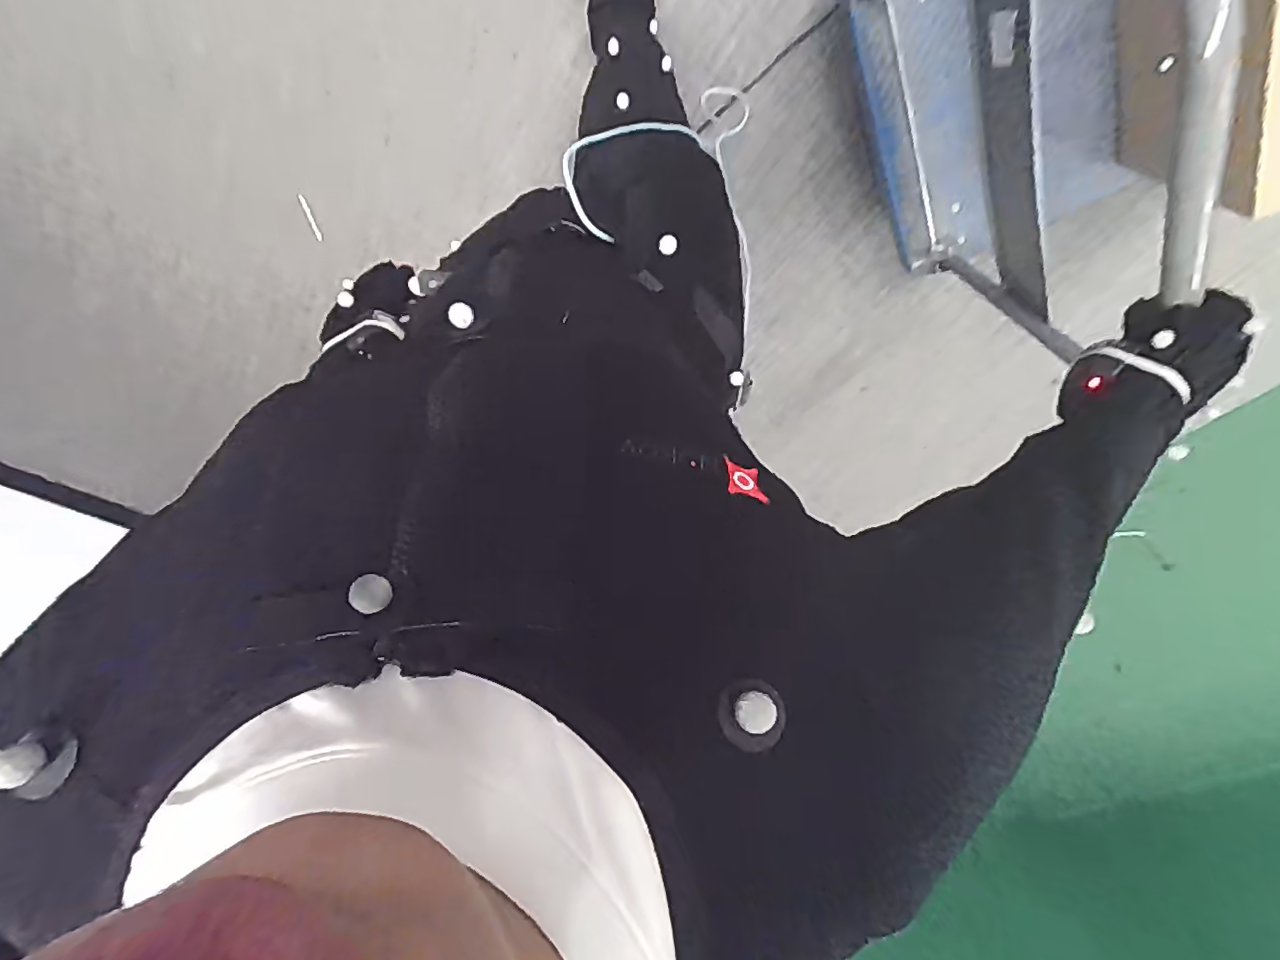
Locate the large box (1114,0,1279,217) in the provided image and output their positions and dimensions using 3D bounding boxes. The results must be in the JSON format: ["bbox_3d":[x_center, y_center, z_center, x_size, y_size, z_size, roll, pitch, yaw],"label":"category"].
[{"bbox_3d":[0.892,-0.650,0.708,0.320,0.320,0.408,-24,127,23],"label":"large box"}]
